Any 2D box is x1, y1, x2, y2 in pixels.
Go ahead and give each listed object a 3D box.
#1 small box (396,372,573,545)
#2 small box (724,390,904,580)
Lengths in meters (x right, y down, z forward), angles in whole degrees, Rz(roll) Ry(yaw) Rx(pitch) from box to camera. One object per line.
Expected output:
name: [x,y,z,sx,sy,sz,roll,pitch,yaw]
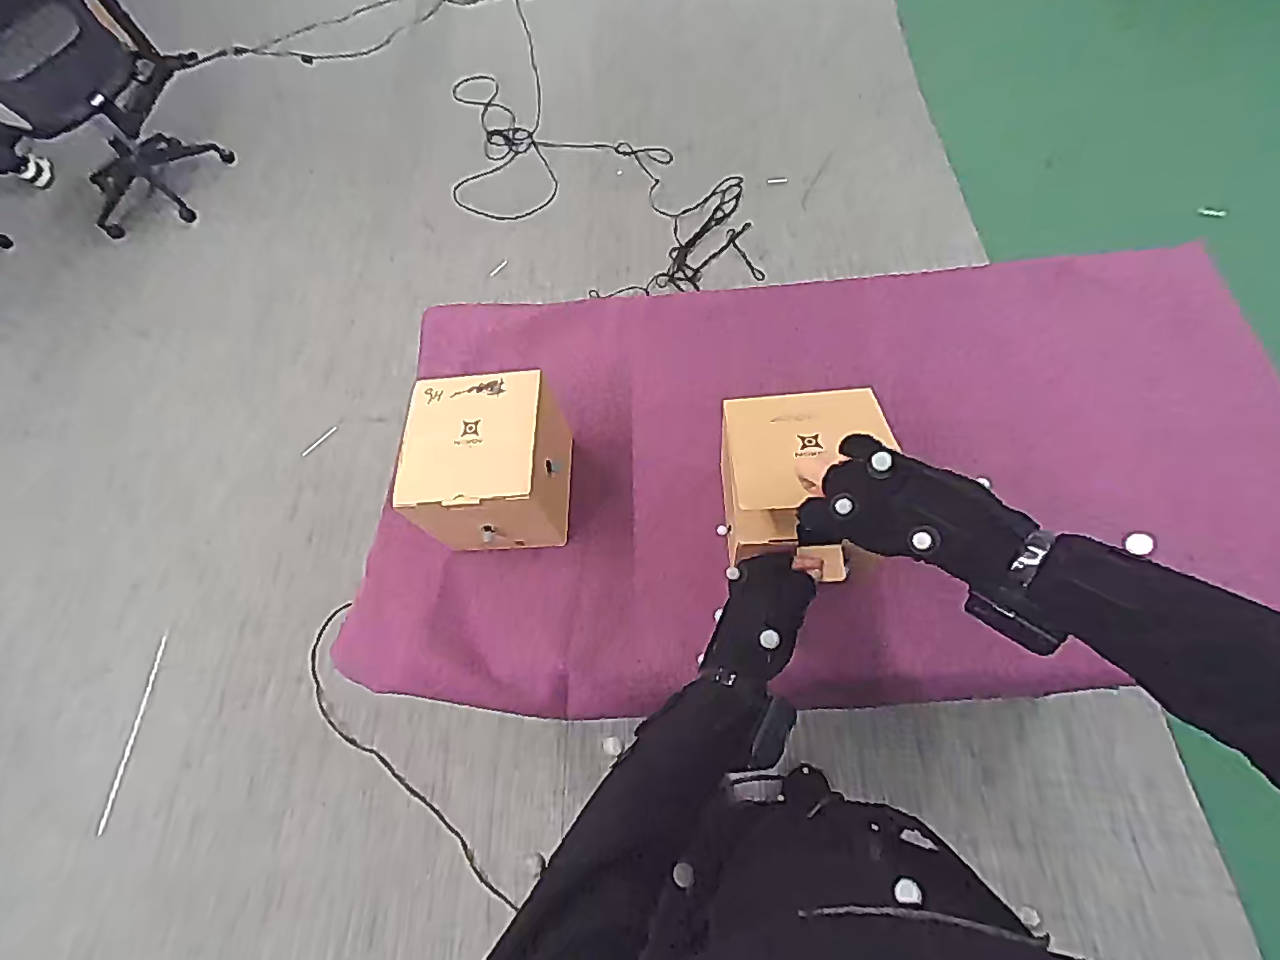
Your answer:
small box: [-0.189,-0.017,0.714,0.168,0.176,0.179,-4,65,6]
small box: [0.189,0.017,0.644,0.168,0.176,0.179,-4,64,6]
